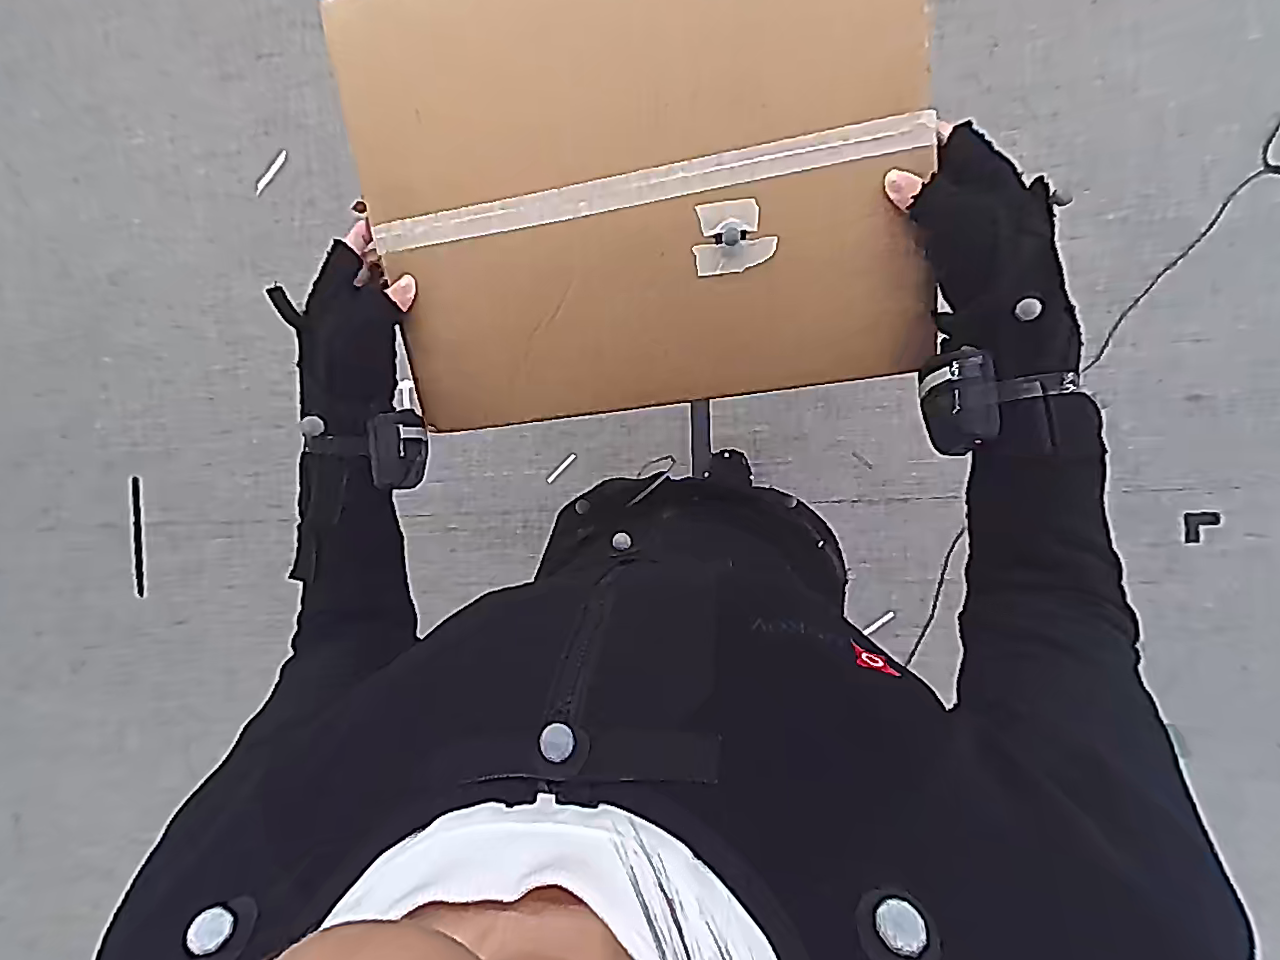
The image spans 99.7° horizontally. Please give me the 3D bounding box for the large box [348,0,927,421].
[{"bbox_3d":[0.017,-0.261,0.544,0.408,0.320,0.320,-6,106,9],"label":"large box"}]
